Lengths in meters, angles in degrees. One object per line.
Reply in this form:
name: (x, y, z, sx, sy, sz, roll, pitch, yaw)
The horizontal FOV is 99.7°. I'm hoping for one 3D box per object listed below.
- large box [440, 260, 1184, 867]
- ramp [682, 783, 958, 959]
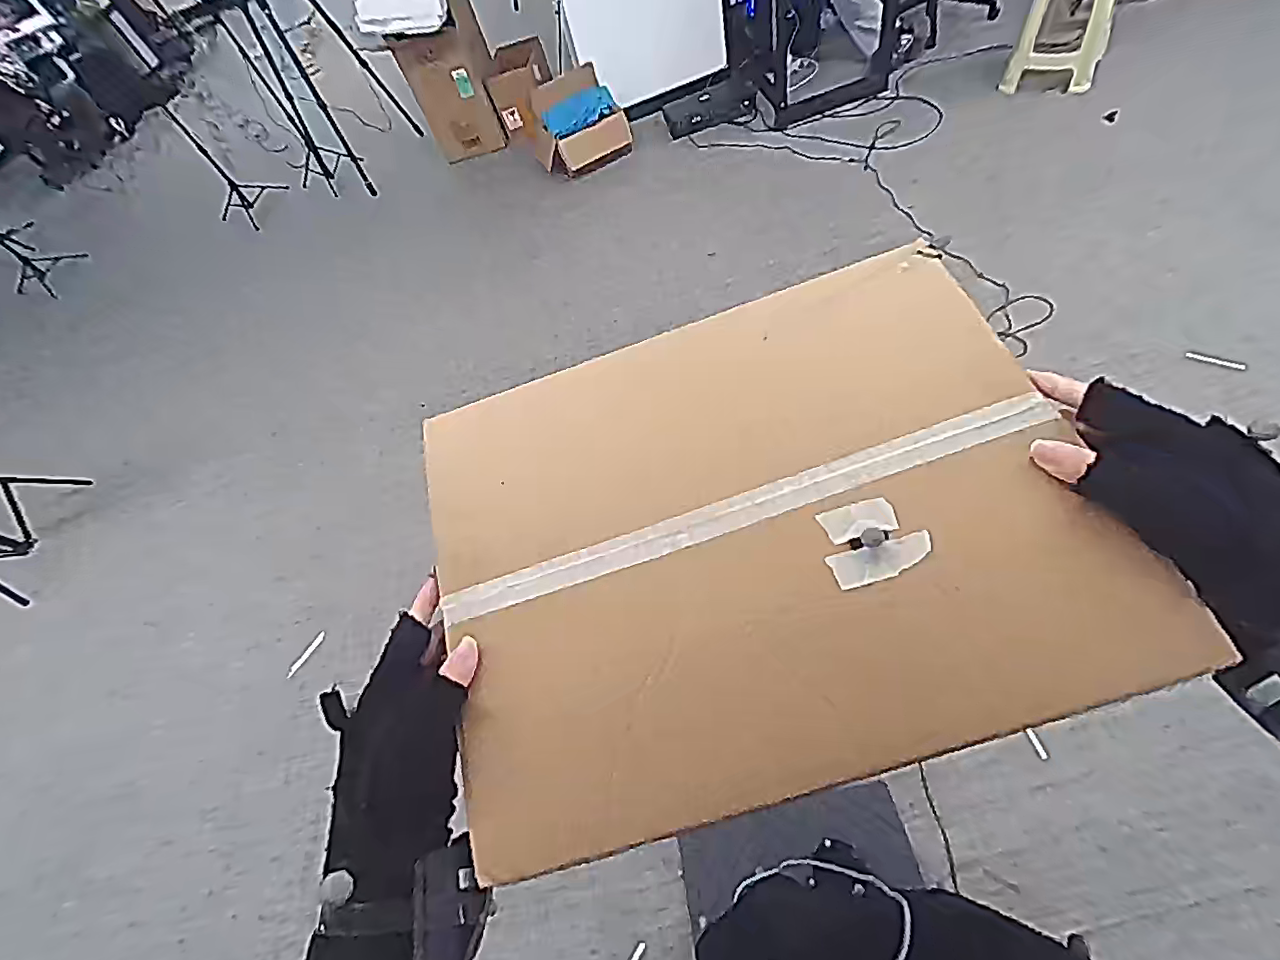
large box: (0.092, 0.084, 0.495, 0.408, 0.320, 0.320, -19, 65, 3)
ramp: (0.386, 1.098, 0.899, 0.509, 0.206, 0.991, -18, 54, 6)
